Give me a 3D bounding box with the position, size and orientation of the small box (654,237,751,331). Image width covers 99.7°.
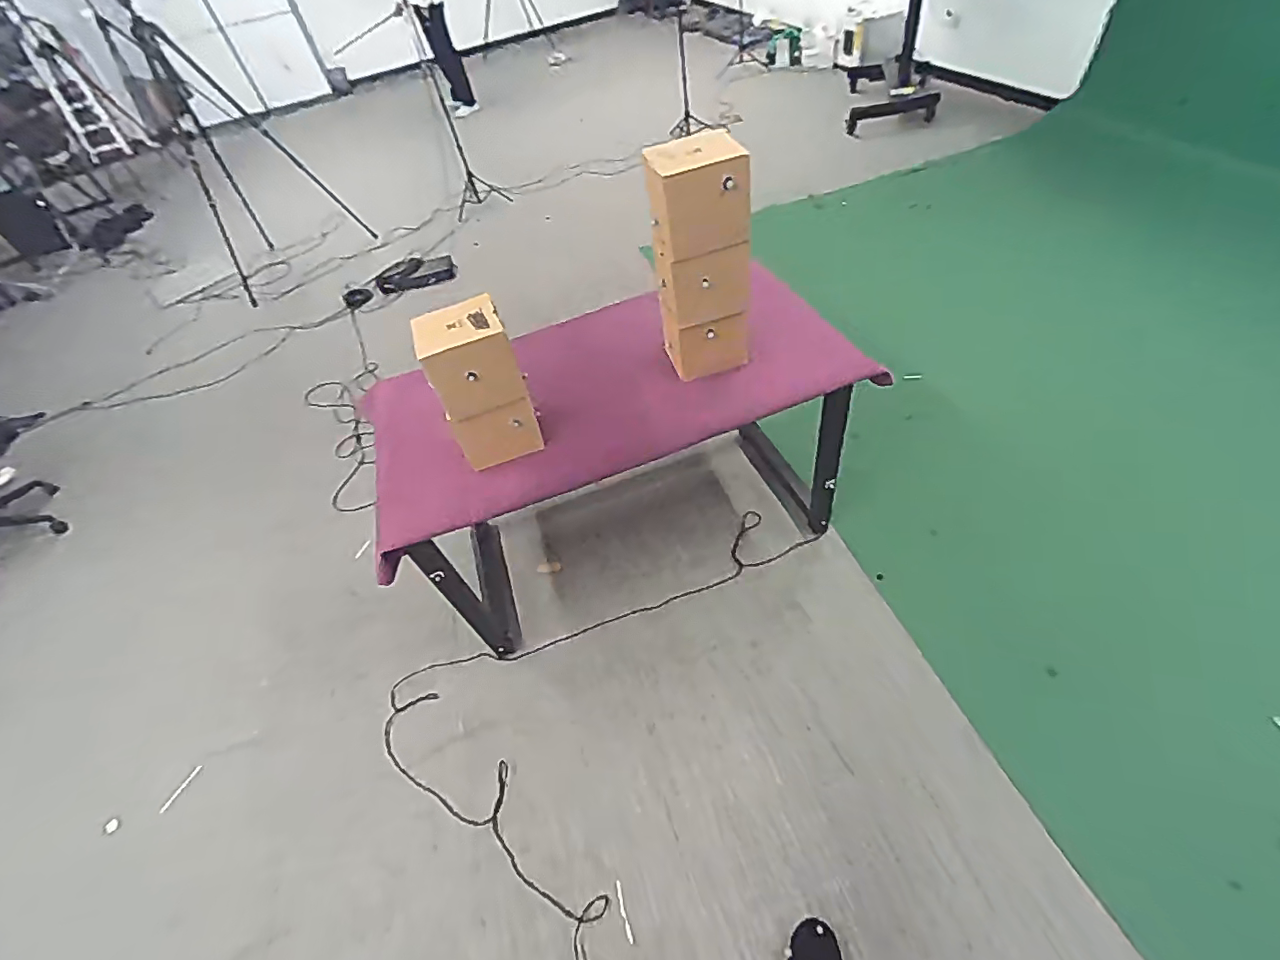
[{"bbox_3d":[0.147,-0.466,1.239,0.179,0.176,0.168,-16,49,-2],"label":"small box"}]

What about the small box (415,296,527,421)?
[{"bbox_3d":[-0.351,-0.255,1.145,0.179,0.176,0.168,-21,49,-8],"label":"small box"}]

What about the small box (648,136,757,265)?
[{"bbox_3d":[0.128,-0.572,1.113,0.179,0.176,0.168,-16,48,-2],"label":"small box"}]

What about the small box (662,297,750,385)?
[{"bbox_3d":[0.167,-0.368,1.369,0.179,0.176,0.168,-16,49,-2],"label":"small box"}]
